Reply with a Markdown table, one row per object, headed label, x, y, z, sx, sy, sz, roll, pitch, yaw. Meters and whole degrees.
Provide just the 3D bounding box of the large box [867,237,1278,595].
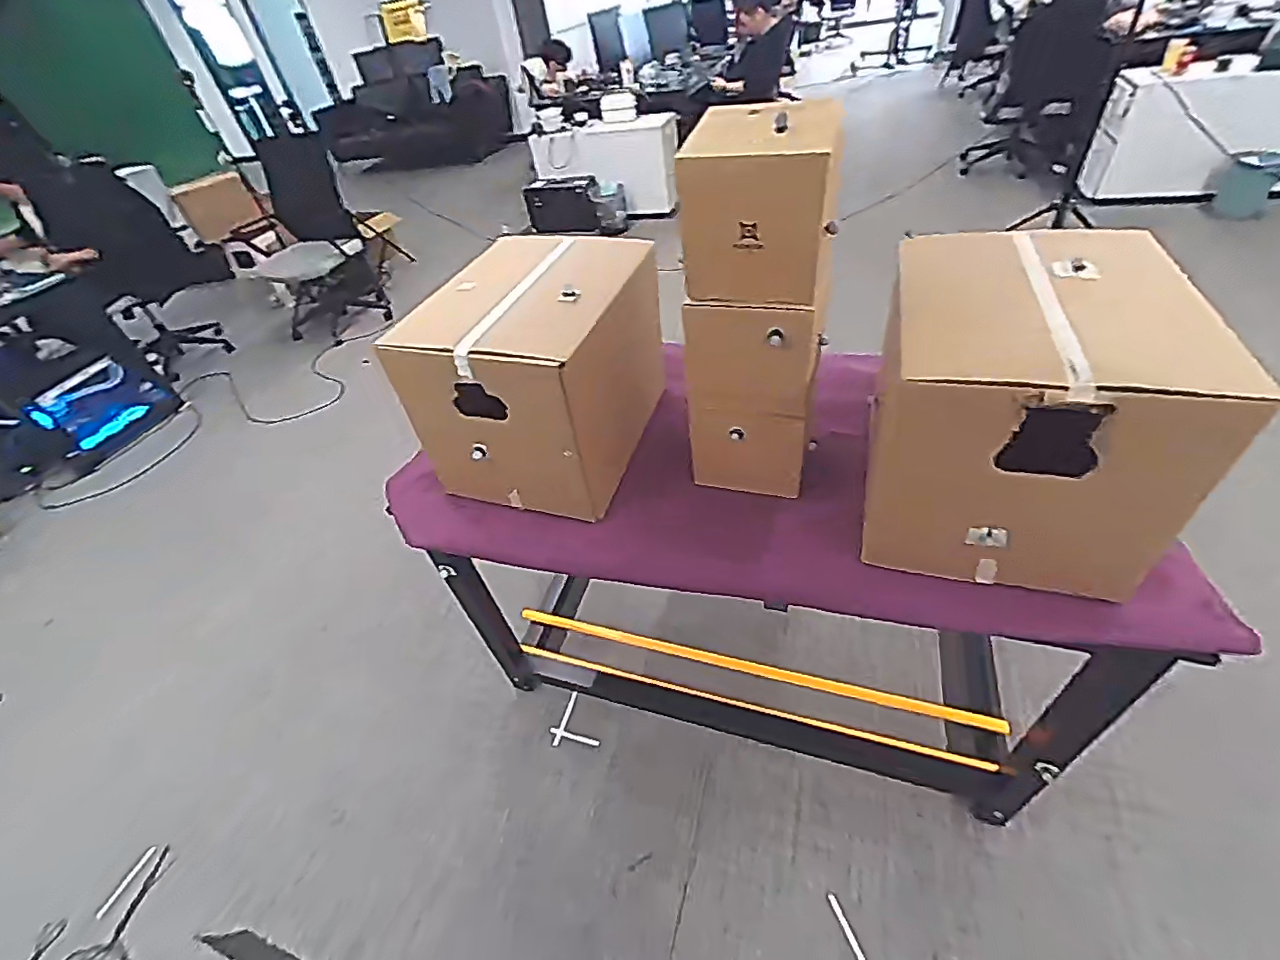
| label | x | y | z | sx | sy | sz | roll | pitch | yaw |
| --- | --- | --- | --- | --- | --- | --- | --- | --- | --- |
| large box | 0.499 | -0.105 | 0.754 | 0.320 | 0.320 | 0.408 | 7 | 44 | 18 |
